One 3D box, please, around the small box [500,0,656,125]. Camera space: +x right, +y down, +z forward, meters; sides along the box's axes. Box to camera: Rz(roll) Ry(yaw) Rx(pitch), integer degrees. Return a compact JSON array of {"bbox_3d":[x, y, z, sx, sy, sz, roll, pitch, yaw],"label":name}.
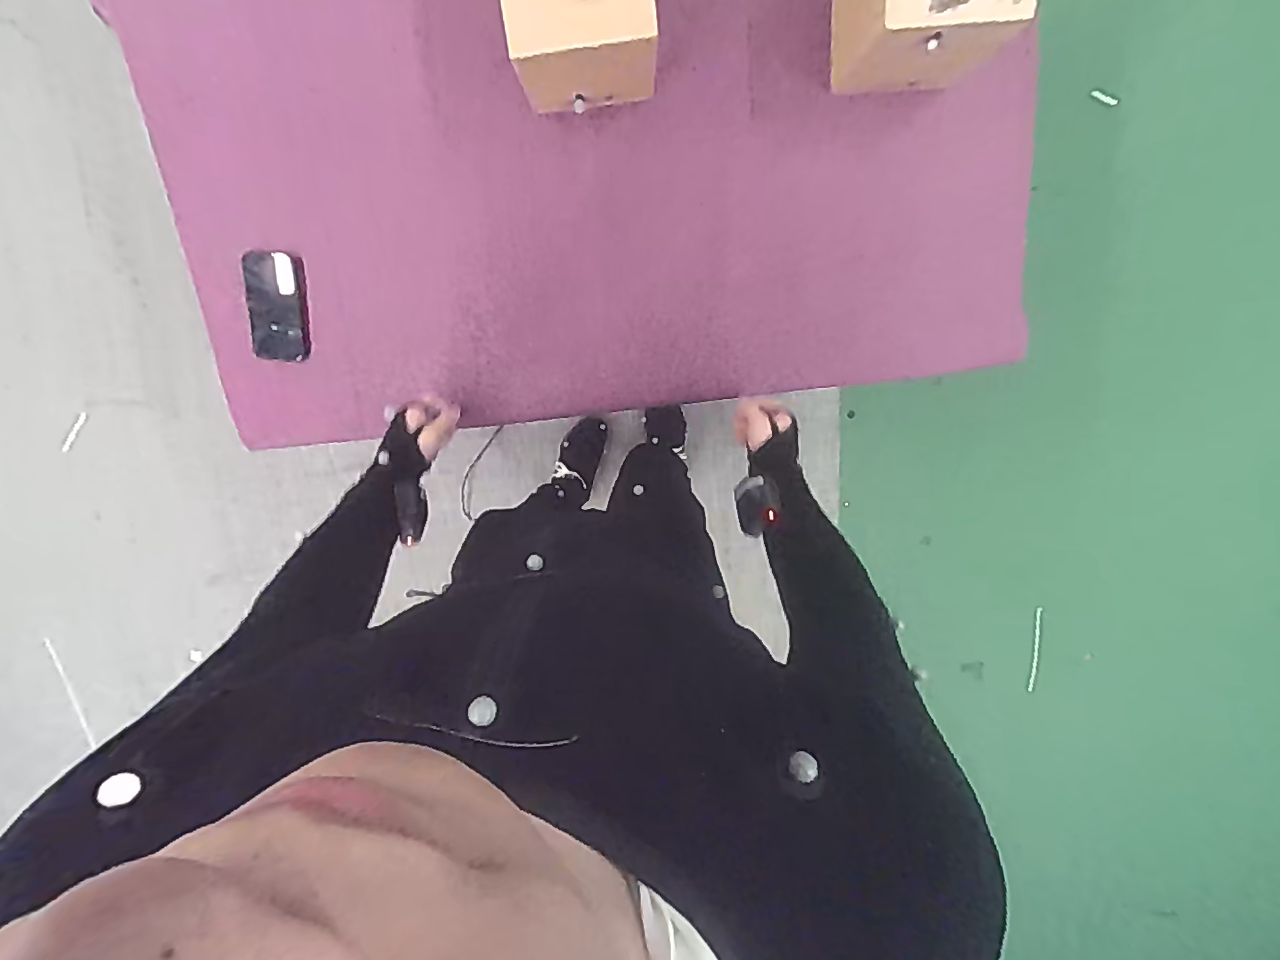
[{"bbox_3d":[-0.074,-0.562,0.646,0.168,0.176,0.179,-7,104,1],"label":"small box"}]
